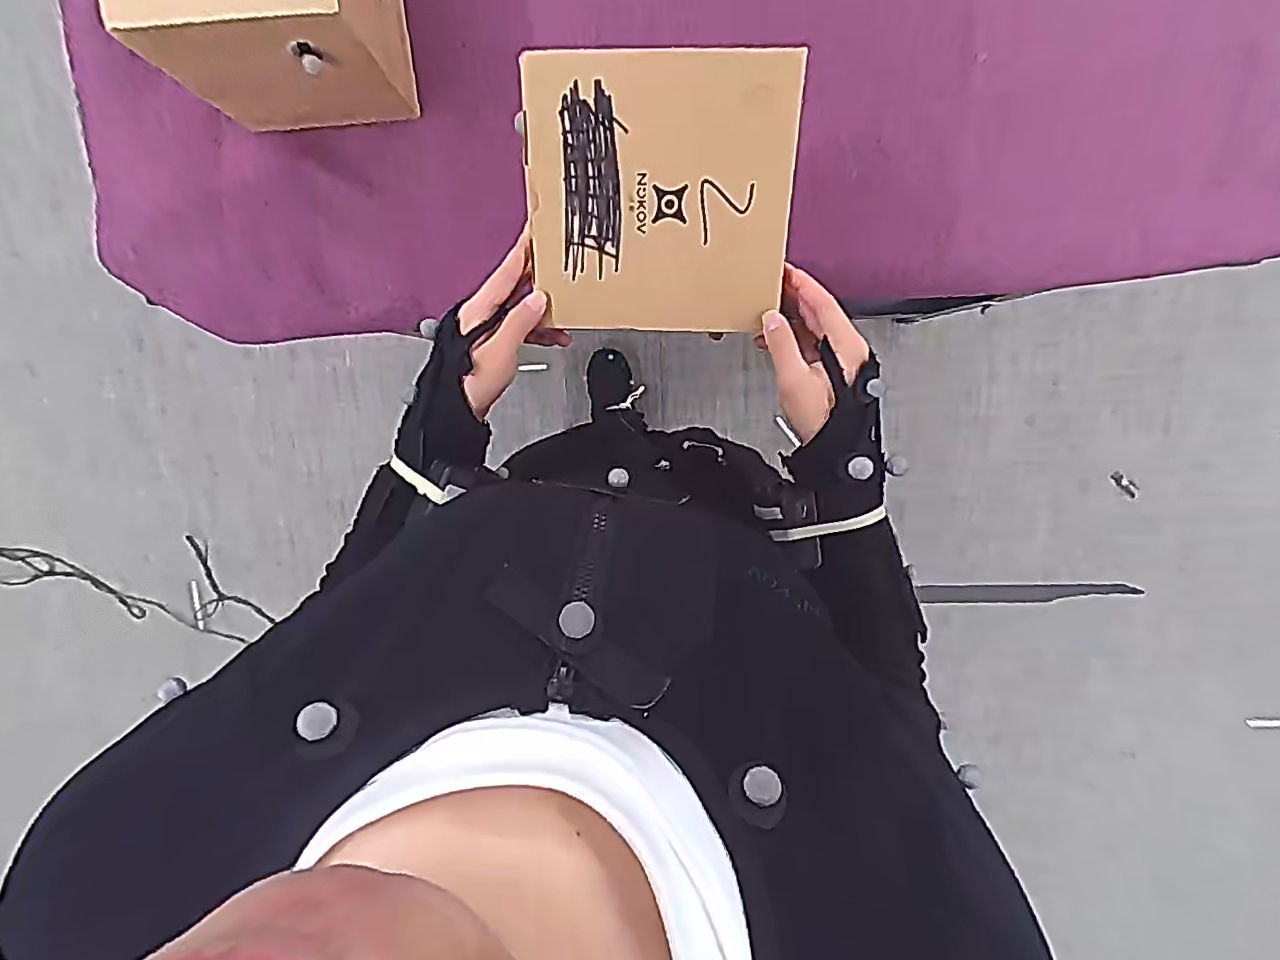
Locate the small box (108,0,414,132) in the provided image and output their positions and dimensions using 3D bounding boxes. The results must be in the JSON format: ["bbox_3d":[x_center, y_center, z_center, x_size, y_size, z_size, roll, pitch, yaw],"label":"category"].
[{"bbox_3d":[-0.314,-0.432,0.469,0.179,0.176,0.168,-5,100,-1],"label":"small box"}]
